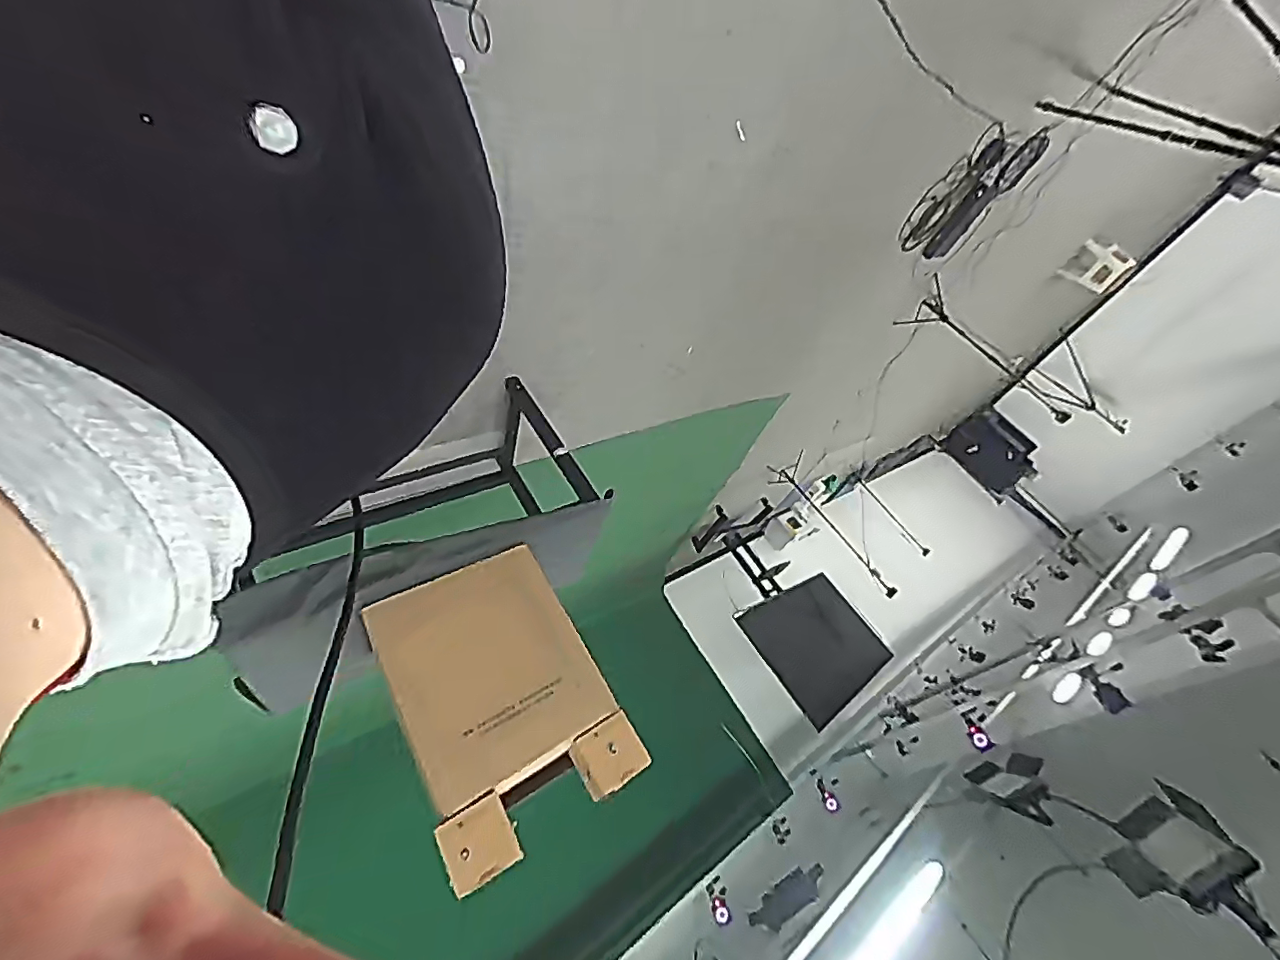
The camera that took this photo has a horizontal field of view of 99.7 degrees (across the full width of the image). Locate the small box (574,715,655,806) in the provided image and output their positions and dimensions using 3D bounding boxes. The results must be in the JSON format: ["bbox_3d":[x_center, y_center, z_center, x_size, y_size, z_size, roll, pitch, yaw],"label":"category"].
[{"bbox_3d":[-0.082,0.827,1.605,0.168,0.176,0.179,-24,153,-28],"label":"small box"}]

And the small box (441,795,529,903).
[{"bbox_3d":[-0.398,0.943,1.394,0.168,0.176,0.179,-22,154,-24],"label":"small box"}]
